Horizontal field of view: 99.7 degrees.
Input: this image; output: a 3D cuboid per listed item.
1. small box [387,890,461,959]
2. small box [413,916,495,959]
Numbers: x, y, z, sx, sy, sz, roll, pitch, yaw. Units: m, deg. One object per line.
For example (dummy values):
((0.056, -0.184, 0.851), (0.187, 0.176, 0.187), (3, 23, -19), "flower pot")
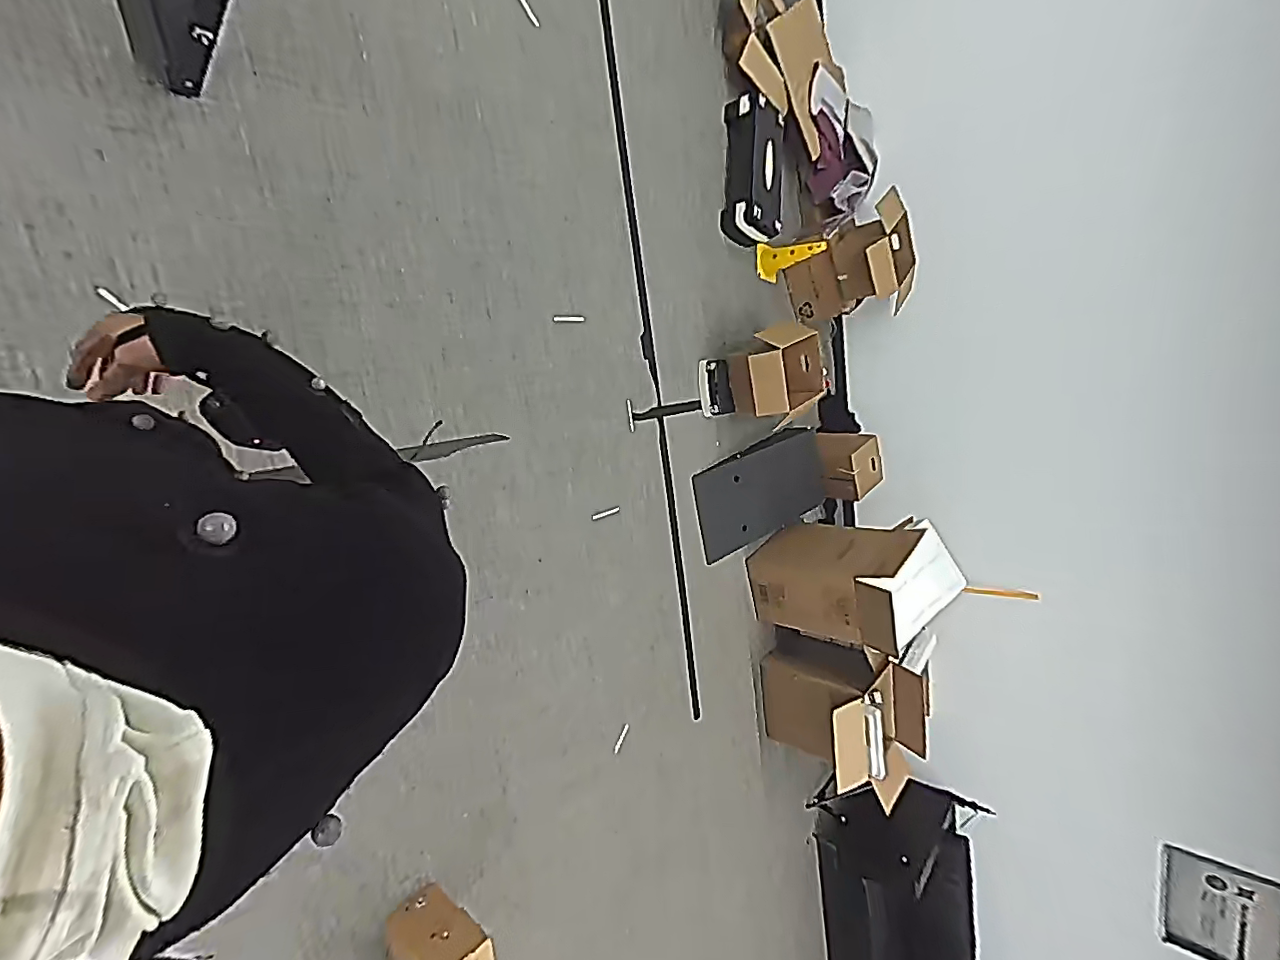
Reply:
((-0.654, 1.428, 1.664), (0.168, 0.176, 0.179), (-15, 102, -47), "small box")
((-0.529, 1.426, 1.558), (0.168, 0.176, 0.179), (-16, 102, -47), "small box")
